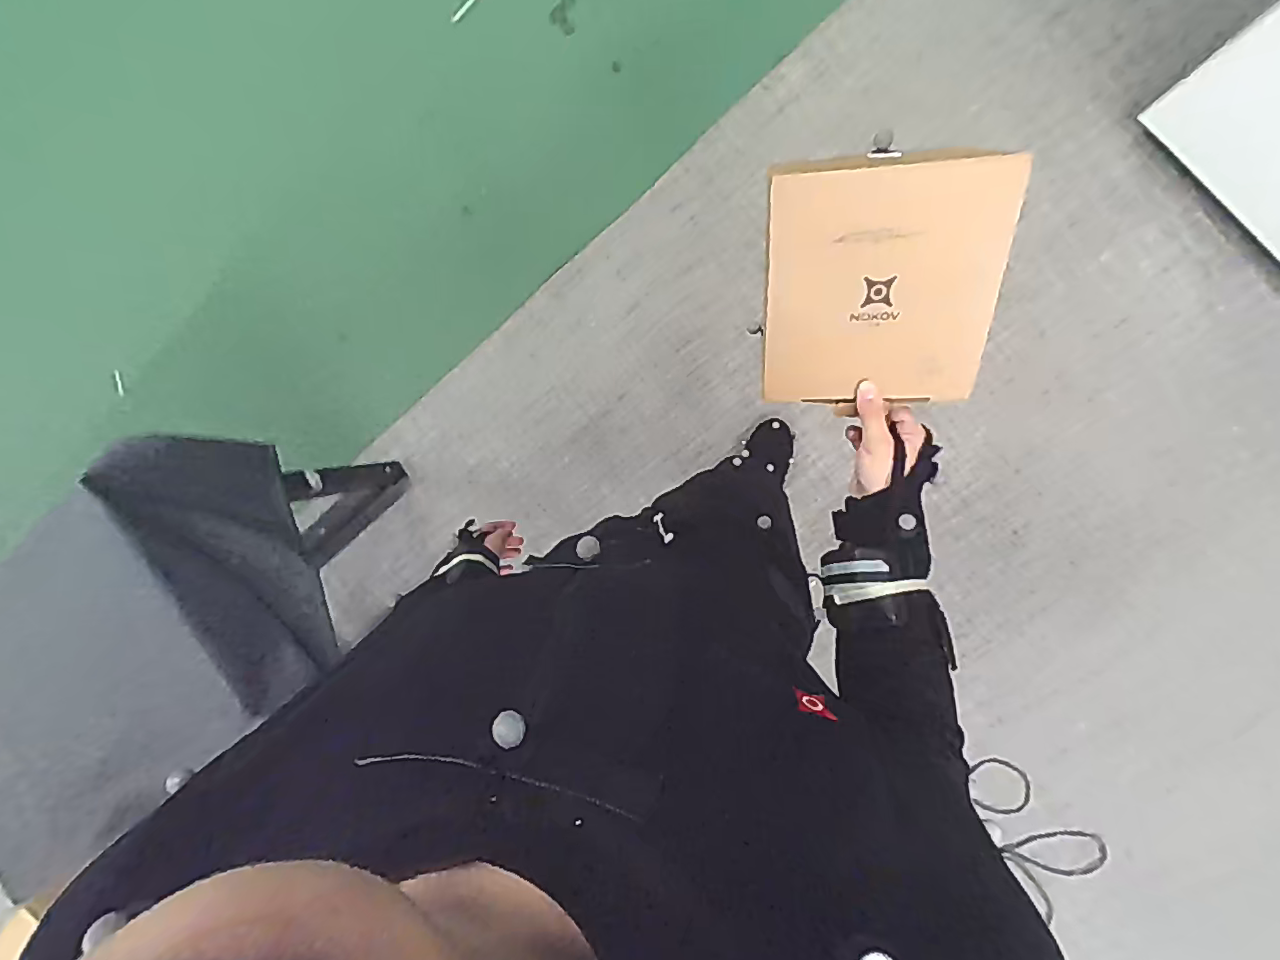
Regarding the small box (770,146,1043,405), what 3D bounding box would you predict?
[{"bbox_3d":[0.202,-0.180,0.471,0.168,0.176,0.179,0,122,12],"label":"small box"}]
